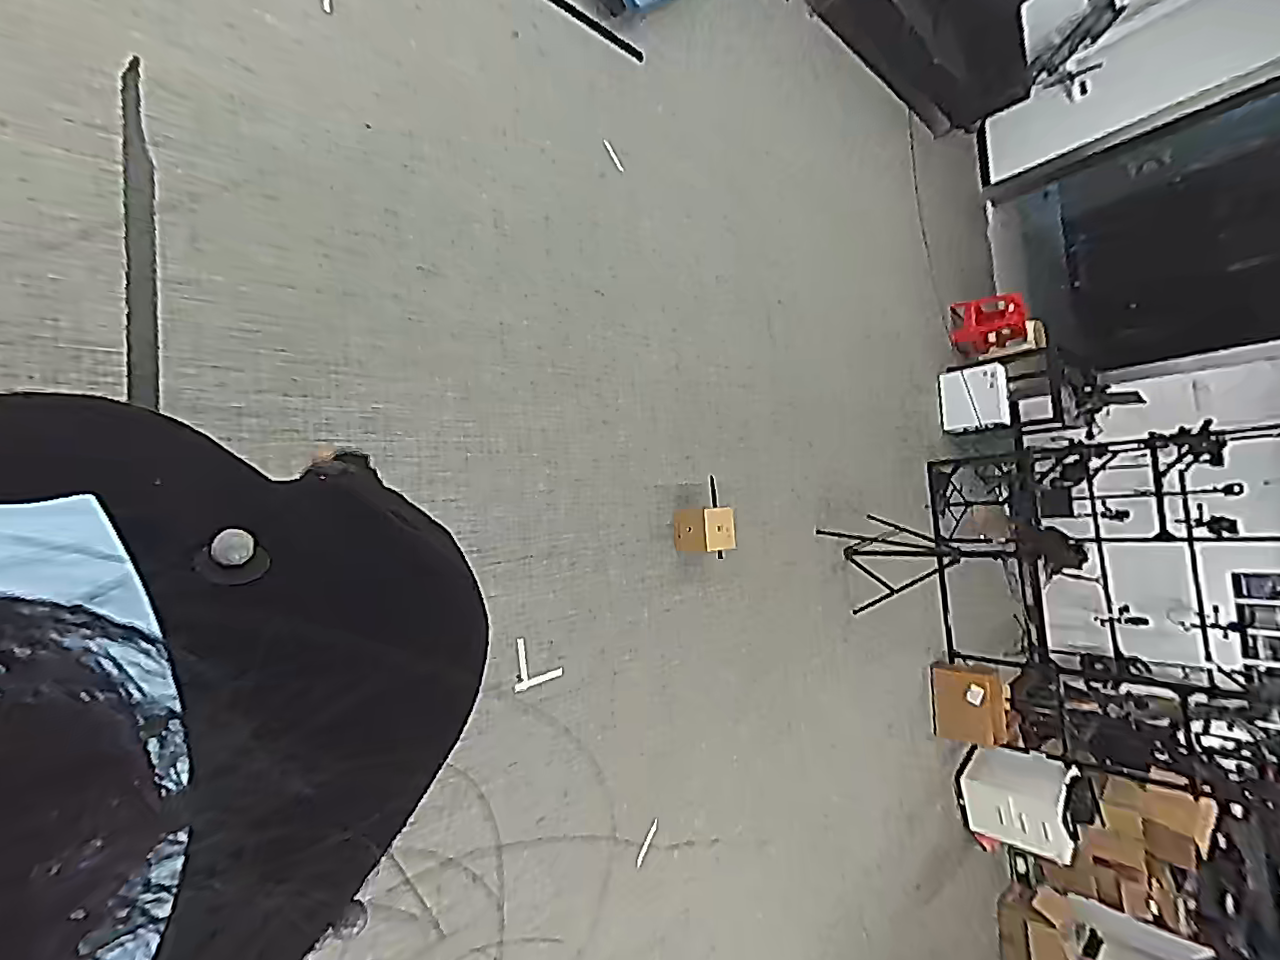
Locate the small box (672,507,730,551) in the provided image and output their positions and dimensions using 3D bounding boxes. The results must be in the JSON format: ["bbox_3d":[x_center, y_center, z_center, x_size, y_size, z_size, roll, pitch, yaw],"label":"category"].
[{"bbox_3d":[0.239,0.198,2.175,0.179,0.176,0.168,1,85,-43],"label":"small box"}]
